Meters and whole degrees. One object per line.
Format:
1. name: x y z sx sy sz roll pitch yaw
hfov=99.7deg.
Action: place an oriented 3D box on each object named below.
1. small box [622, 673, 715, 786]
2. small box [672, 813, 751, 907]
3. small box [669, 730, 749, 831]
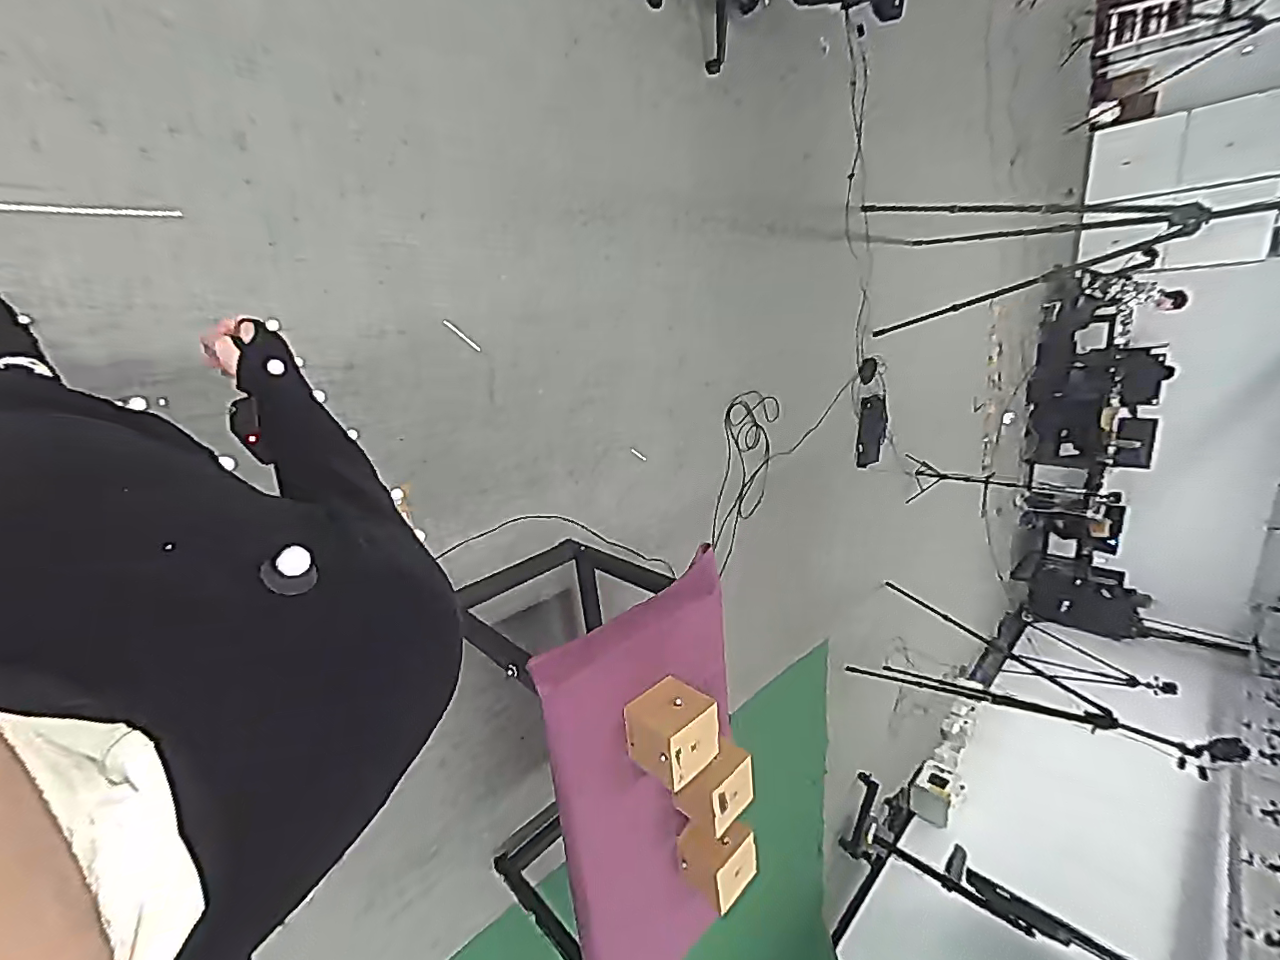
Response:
1. small box: 0.075 0.635 1.404 0.179 0.176 0.168 -19 112 -40
2. small box: 0.218 1.124 1.649 0.179 0.176 0.168 -21 112 -39
3. small box: 0.194 0.852 1.566 0.179 0.176 0.168 -21 113 -40
